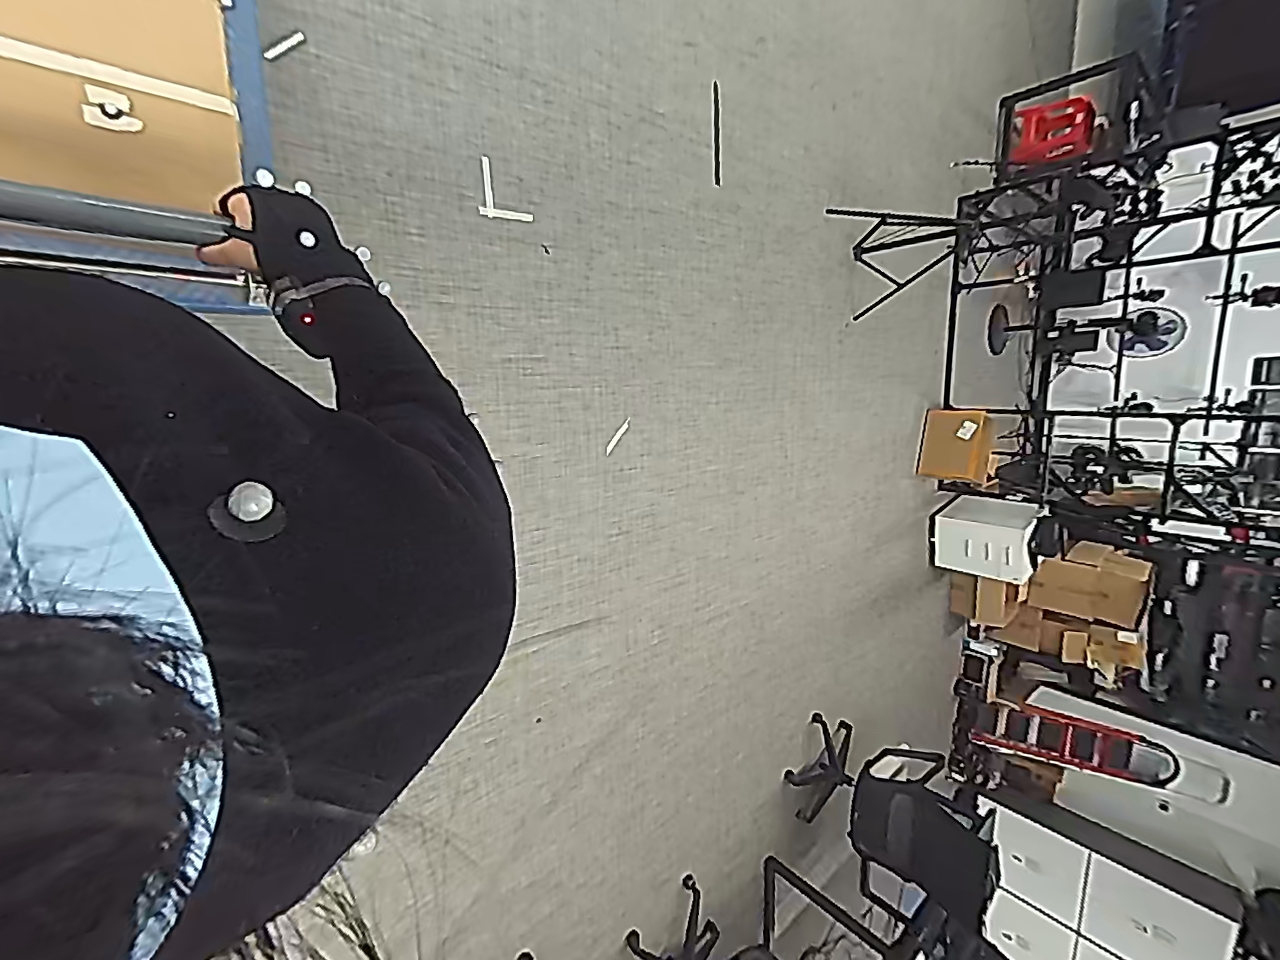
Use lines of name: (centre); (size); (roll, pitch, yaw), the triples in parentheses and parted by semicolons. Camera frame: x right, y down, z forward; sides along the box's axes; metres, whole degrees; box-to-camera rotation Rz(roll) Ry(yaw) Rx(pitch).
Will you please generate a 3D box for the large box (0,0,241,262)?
large box: (-0.853, -0.525, 0.772); (0.408, 0.320, 0.320); (-8, 103, -41)
